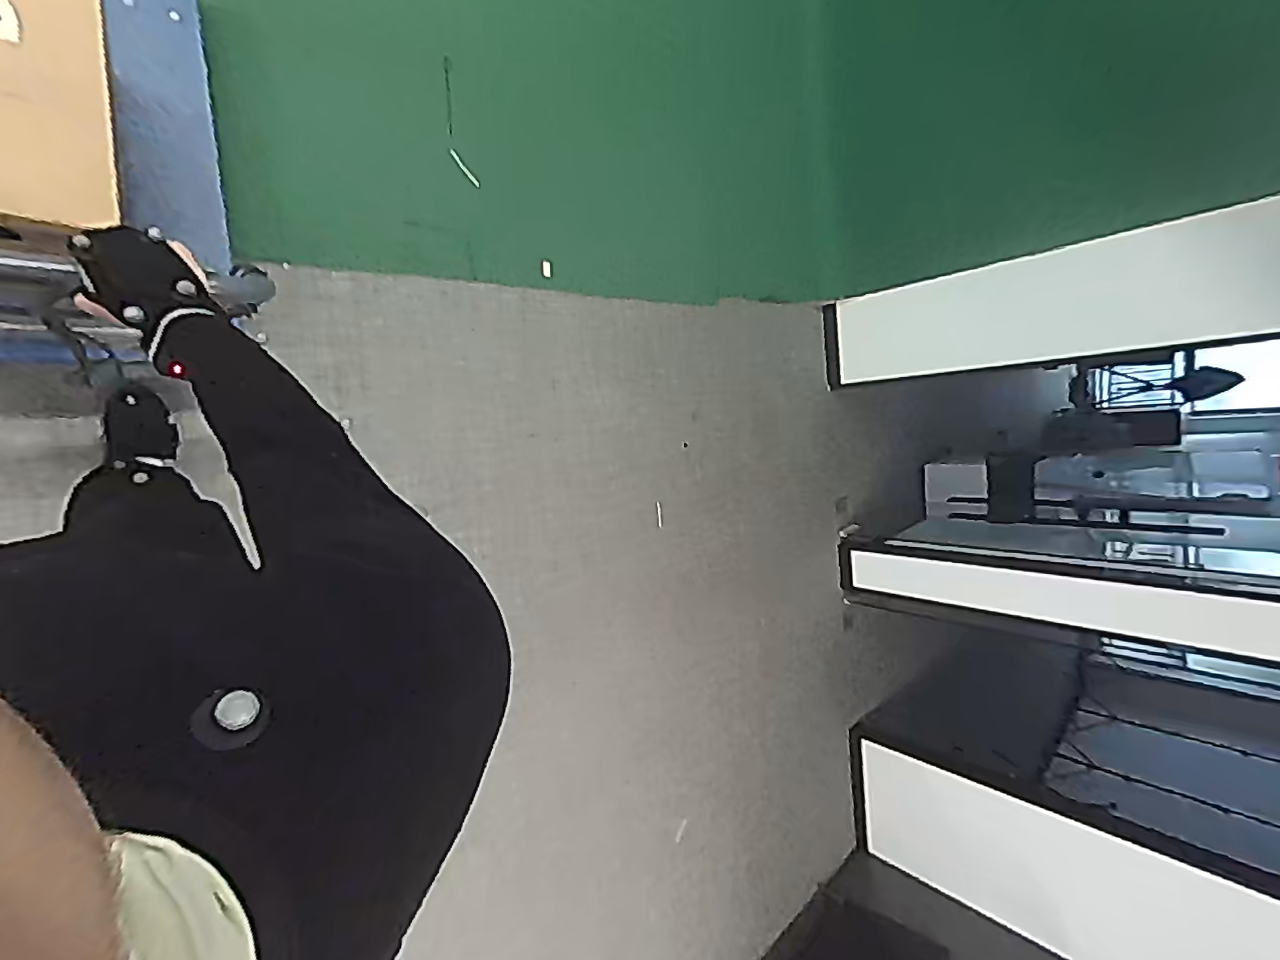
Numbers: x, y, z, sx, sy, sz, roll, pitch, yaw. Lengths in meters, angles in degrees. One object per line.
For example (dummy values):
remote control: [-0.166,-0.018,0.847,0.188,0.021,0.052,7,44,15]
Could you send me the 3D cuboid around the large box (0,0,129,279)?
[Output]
large box: [-1.022,-0.568,0.826,0.320,0.320,0.408,-5,94,-41]
